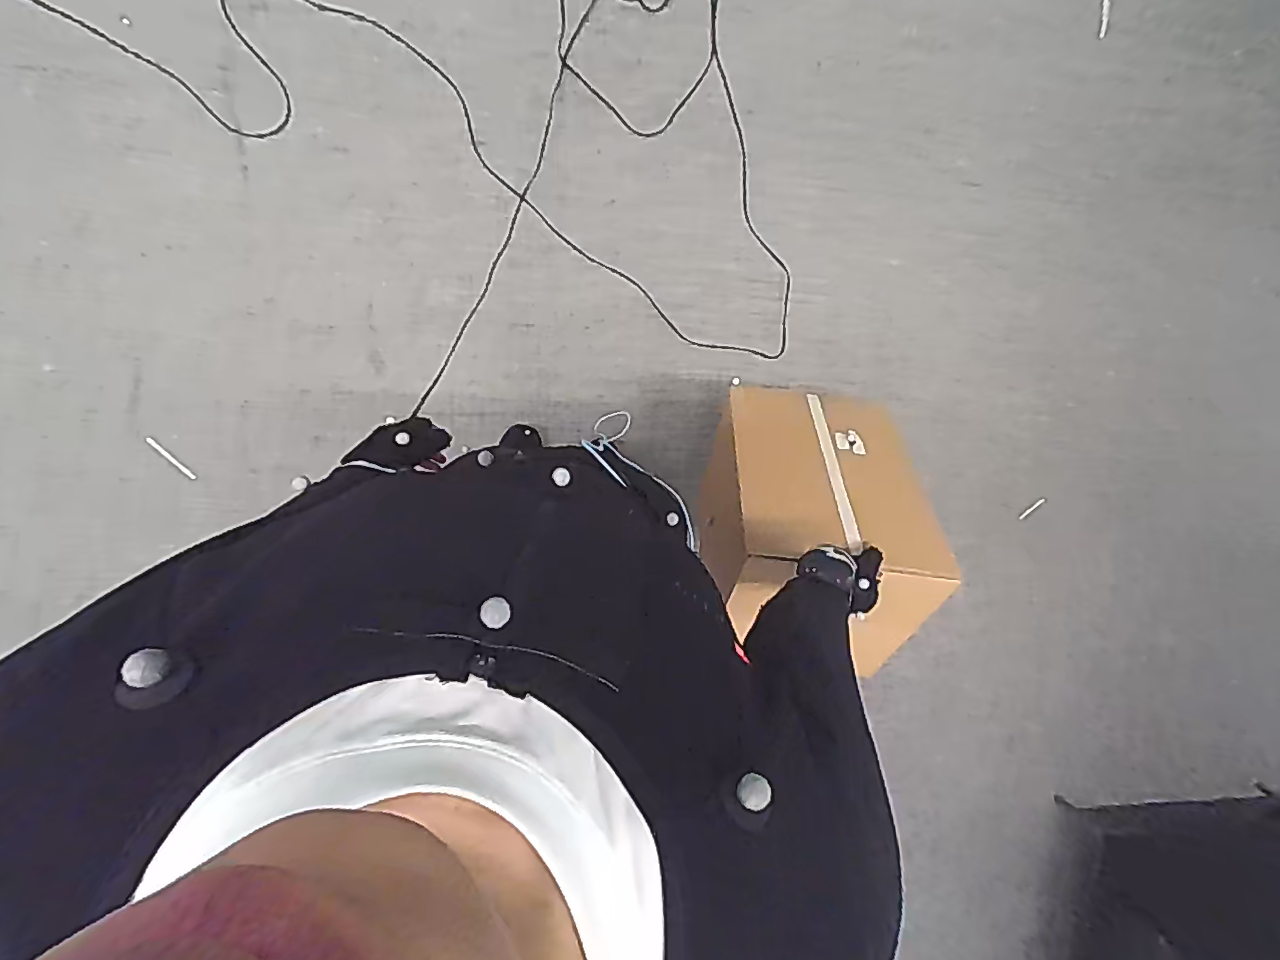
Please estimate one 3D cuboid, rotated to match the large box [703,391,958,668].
[{"bbox_3d":[0.299,0.090,1.008,0.320,0.408,0.320,7,135,-3],"label":"large box"}]
